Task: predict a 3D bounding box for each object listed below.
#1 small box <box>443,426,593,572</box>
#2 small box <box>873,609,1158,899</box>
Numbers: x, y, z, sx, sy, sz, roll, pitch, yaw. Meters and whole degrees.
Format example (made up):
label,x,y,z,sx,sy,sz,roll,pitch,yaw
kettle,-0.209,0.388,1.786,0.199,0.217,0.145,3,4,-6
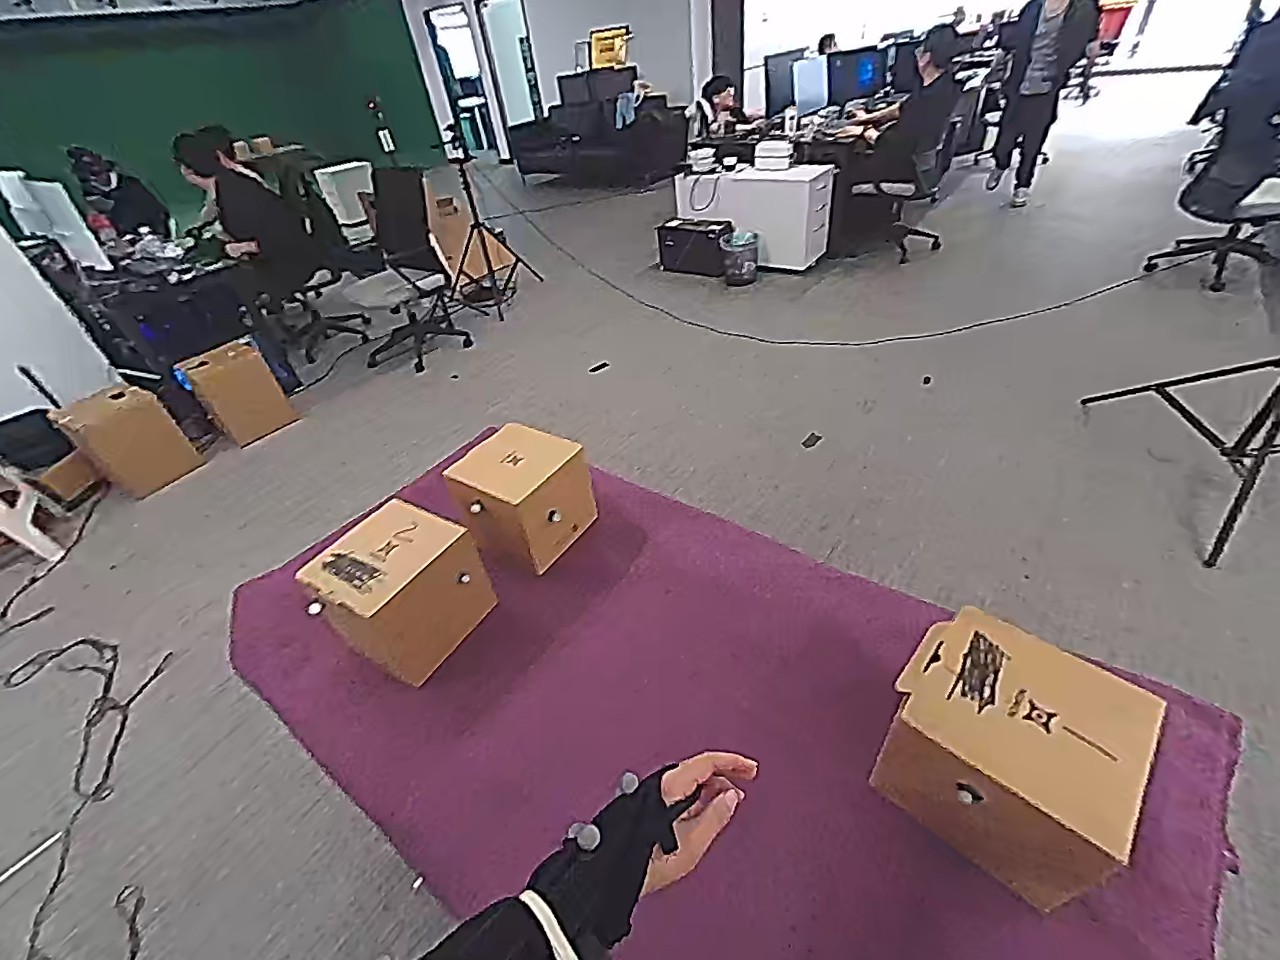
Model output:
label,x,y,z,sx,sy,sz,roll,pitch,yaw
small box,-0.202,0.035,0.944,0.179,0.176,0.168,19,46,29
small box,0.363,0.275,0.551,0.179,0.176,0.168,28,53,34
